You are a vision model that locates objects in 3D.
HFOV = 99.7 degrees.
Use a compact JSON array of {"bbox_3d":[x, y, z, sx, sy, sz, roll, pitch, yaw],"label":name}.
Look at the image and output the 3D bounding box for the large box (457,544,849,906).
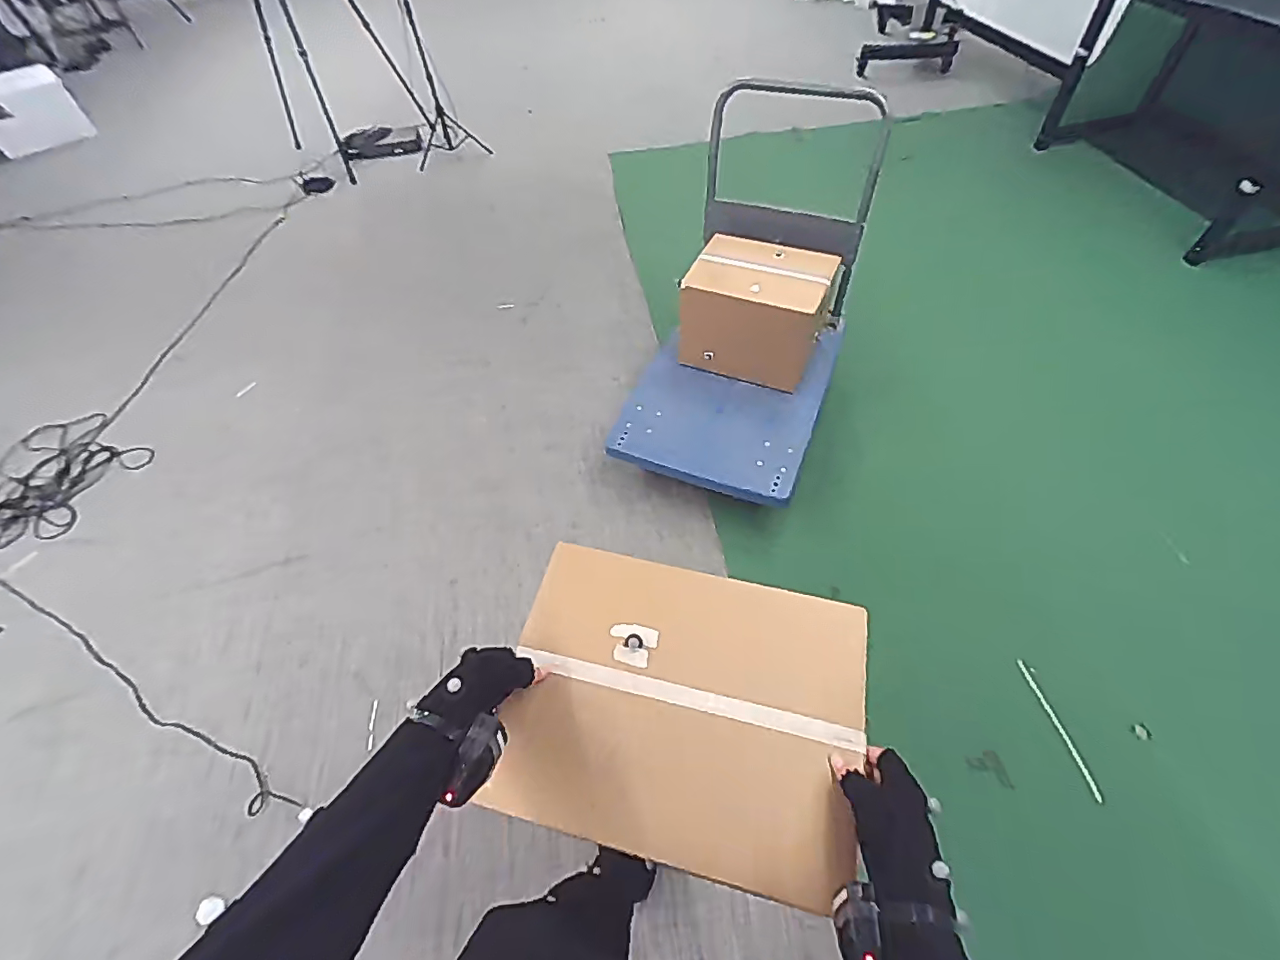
[{"bbox_3d":[0.041,0.322,0.745,0.408,0.320,0.320,10,59,11],"label":"large box"}]
